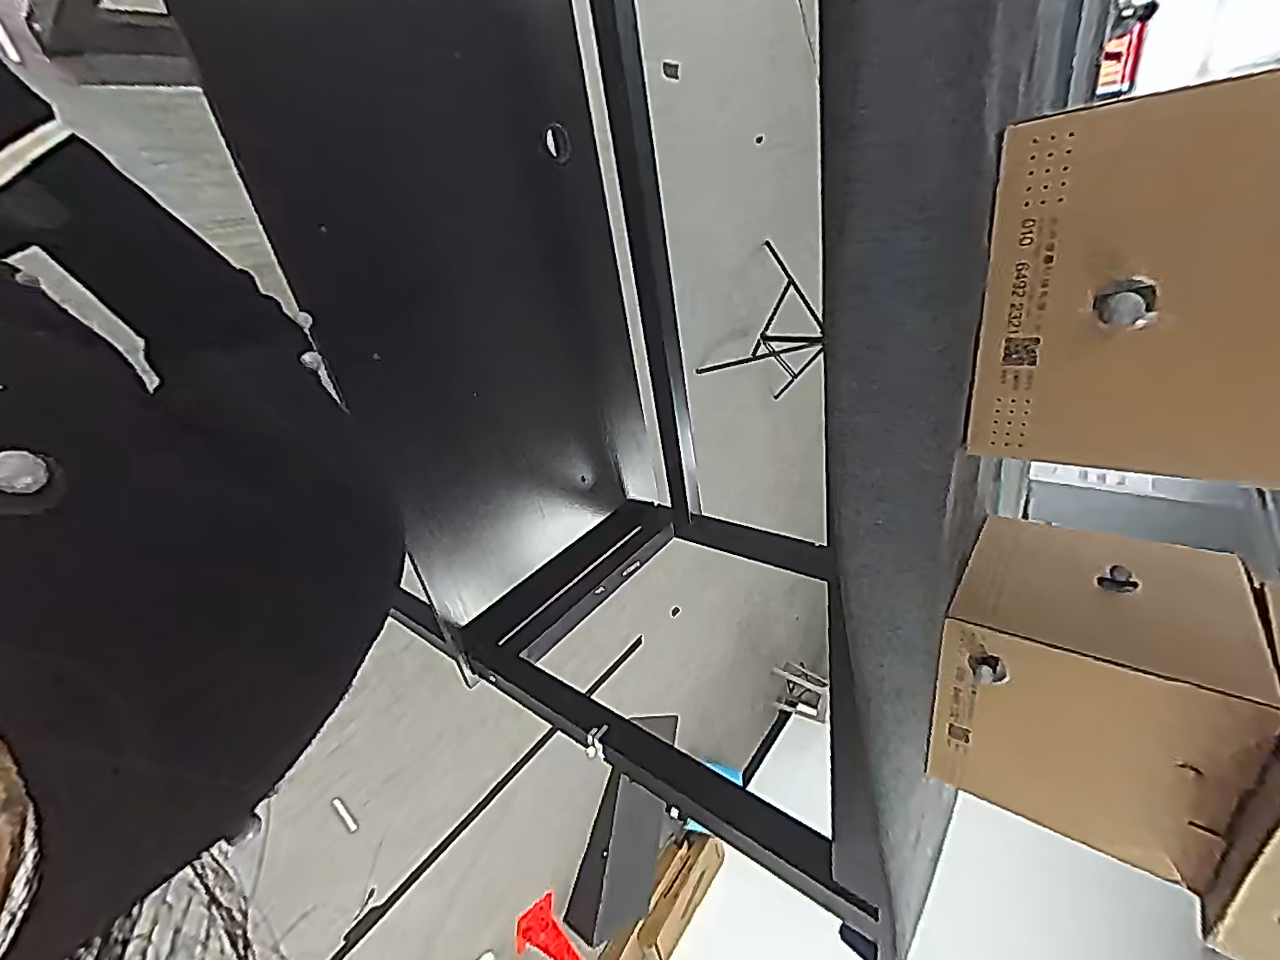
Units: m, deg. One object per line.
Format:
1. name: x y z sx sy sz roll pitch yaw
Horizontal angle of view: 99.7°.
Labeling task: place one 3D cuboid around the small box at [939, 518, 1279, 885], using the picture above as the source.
1. small box: 0.350 0.148 0.428 0.179 0.176 0.168 -33 124 -44

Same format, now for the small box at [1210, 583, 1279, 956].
1. small box: 0.456 0.188 0.308 0.179 0.176 0.168 -39 129 -40

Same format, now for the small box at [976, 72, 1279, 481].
1. small box: 0.299 -0.113 0.291 0.179 0.176 0.168 -36 126 -43
